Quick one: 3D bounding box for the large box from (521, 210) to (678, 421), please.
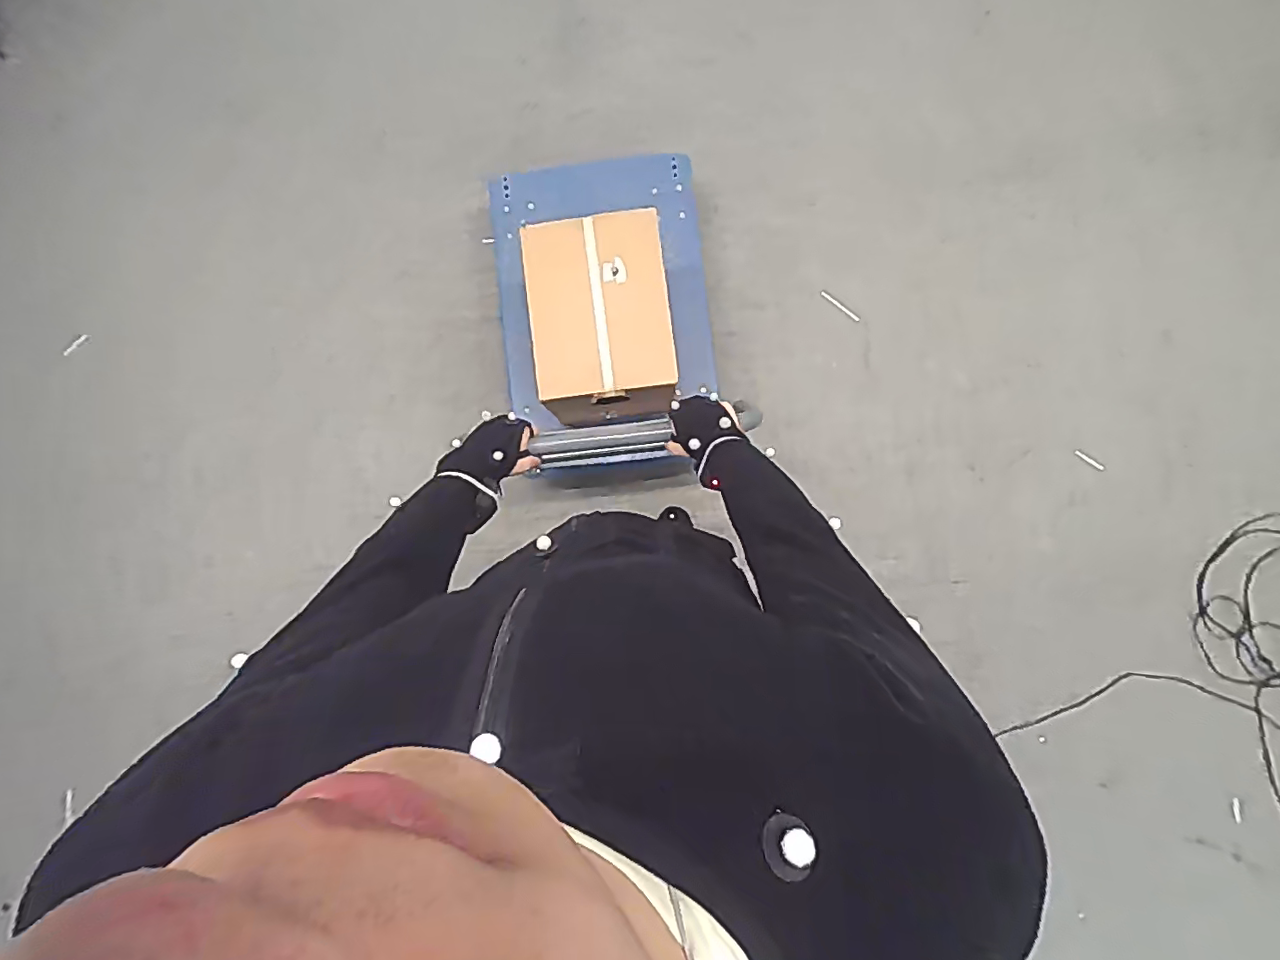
[{"bbox_3d":[-0.089,-0.387,1.359,0.320,0.320,0.408,-7,87,0],"label":"large box"}]
